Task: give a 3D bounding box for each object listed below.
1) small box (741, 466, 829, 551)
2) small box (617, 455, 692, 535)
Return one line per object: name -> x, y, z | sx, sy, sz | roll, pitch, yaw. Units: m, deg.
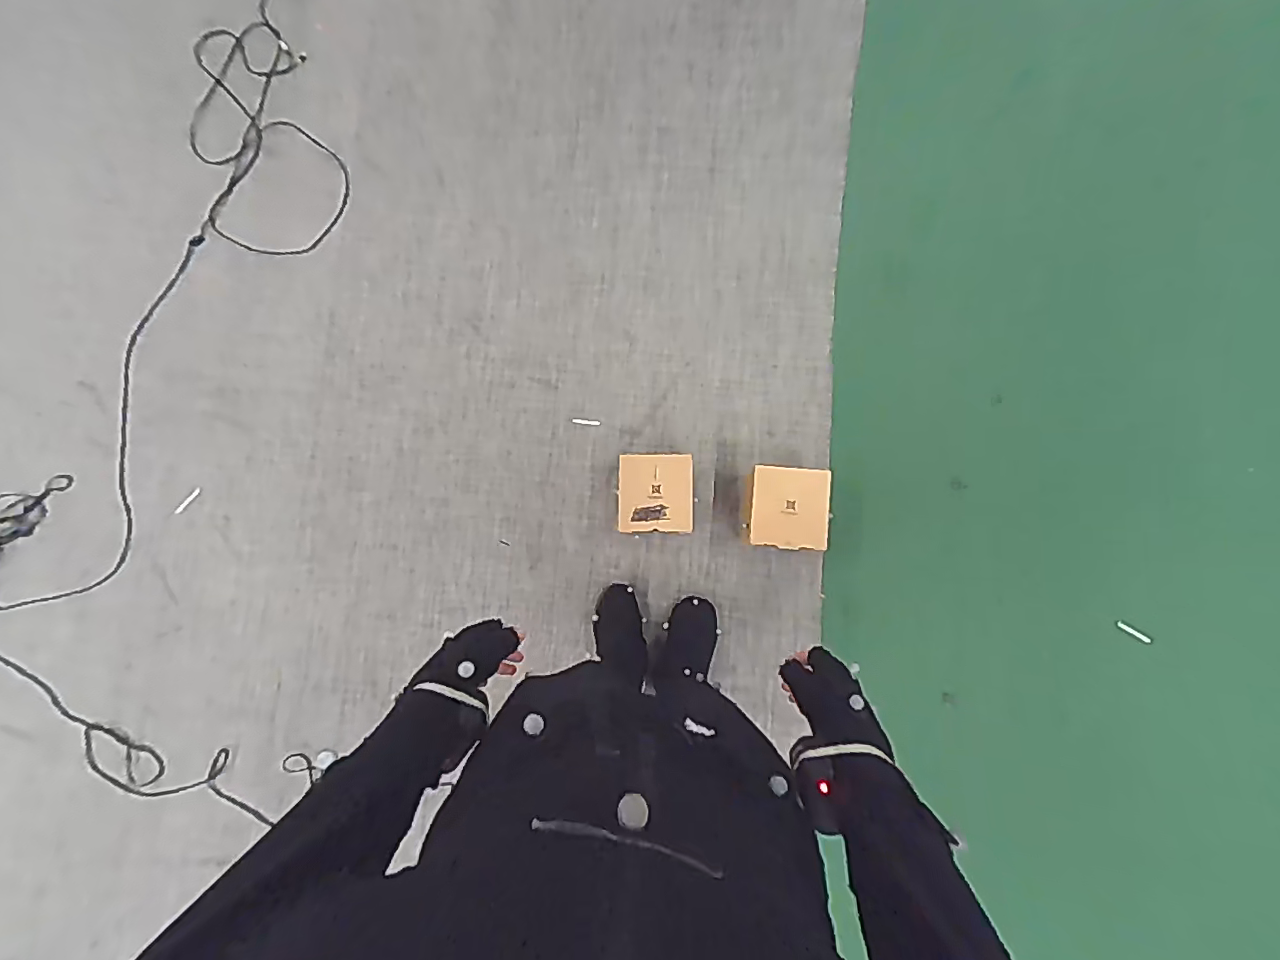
small box -> 0.329, 0.070, 1.251 | 0.168, 0.176, 0.179 | 4, 84, 5
small box -> 0.038, 0.040, 1.274 | 0.168, 0.176, 0.179 | 1, 83, 4
